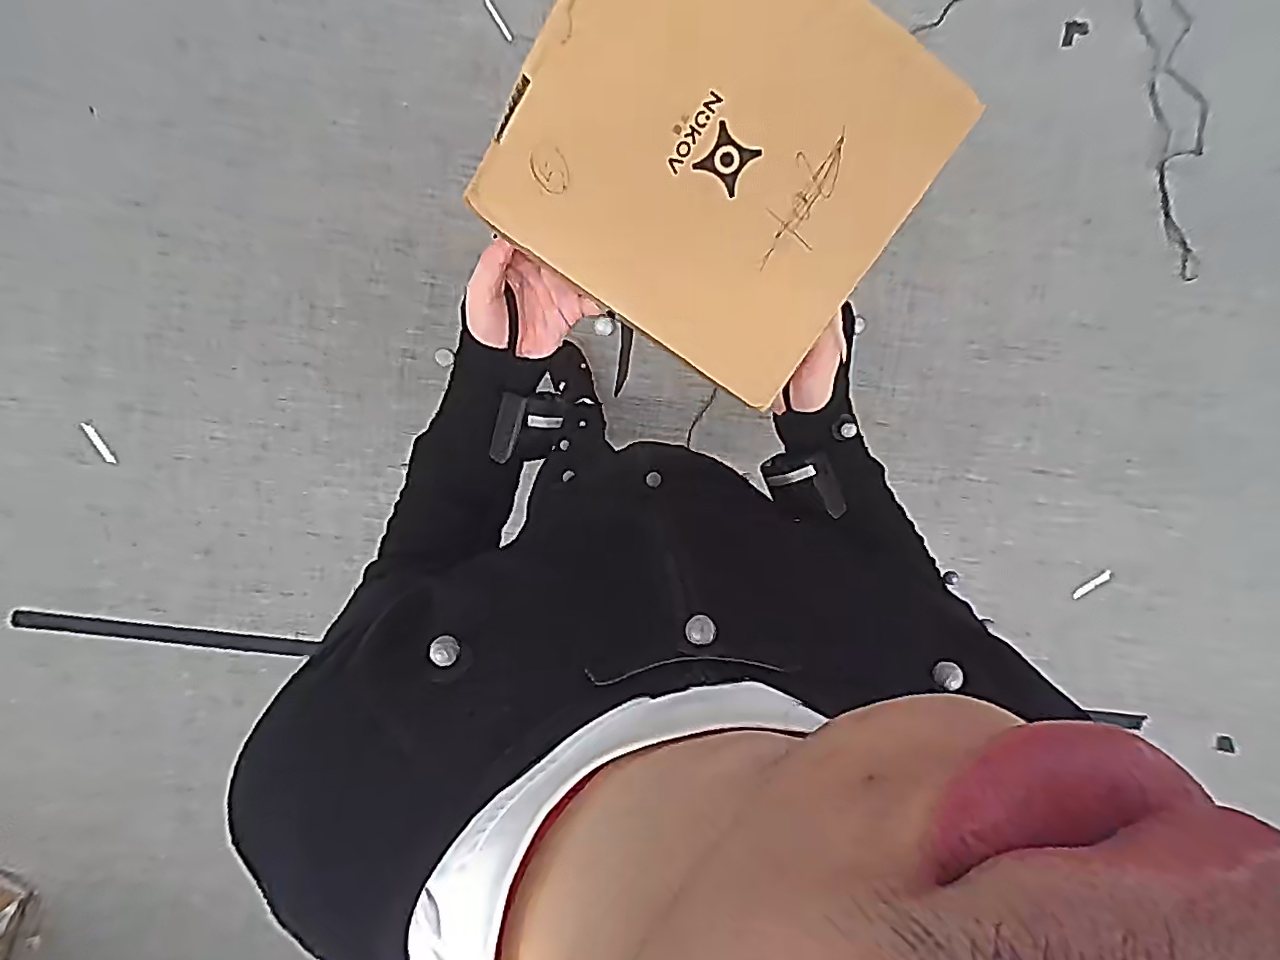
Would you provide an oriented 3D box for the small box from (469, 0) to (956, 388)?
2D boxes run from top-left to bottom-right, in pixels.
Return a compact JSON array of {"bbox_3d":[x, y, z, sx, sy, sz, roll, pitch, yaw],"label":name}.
[{"bbox_3d":[0.030,-0.177,0.331,0.179,0.176,0.168,32,103,-11],"label":"small box"}]
